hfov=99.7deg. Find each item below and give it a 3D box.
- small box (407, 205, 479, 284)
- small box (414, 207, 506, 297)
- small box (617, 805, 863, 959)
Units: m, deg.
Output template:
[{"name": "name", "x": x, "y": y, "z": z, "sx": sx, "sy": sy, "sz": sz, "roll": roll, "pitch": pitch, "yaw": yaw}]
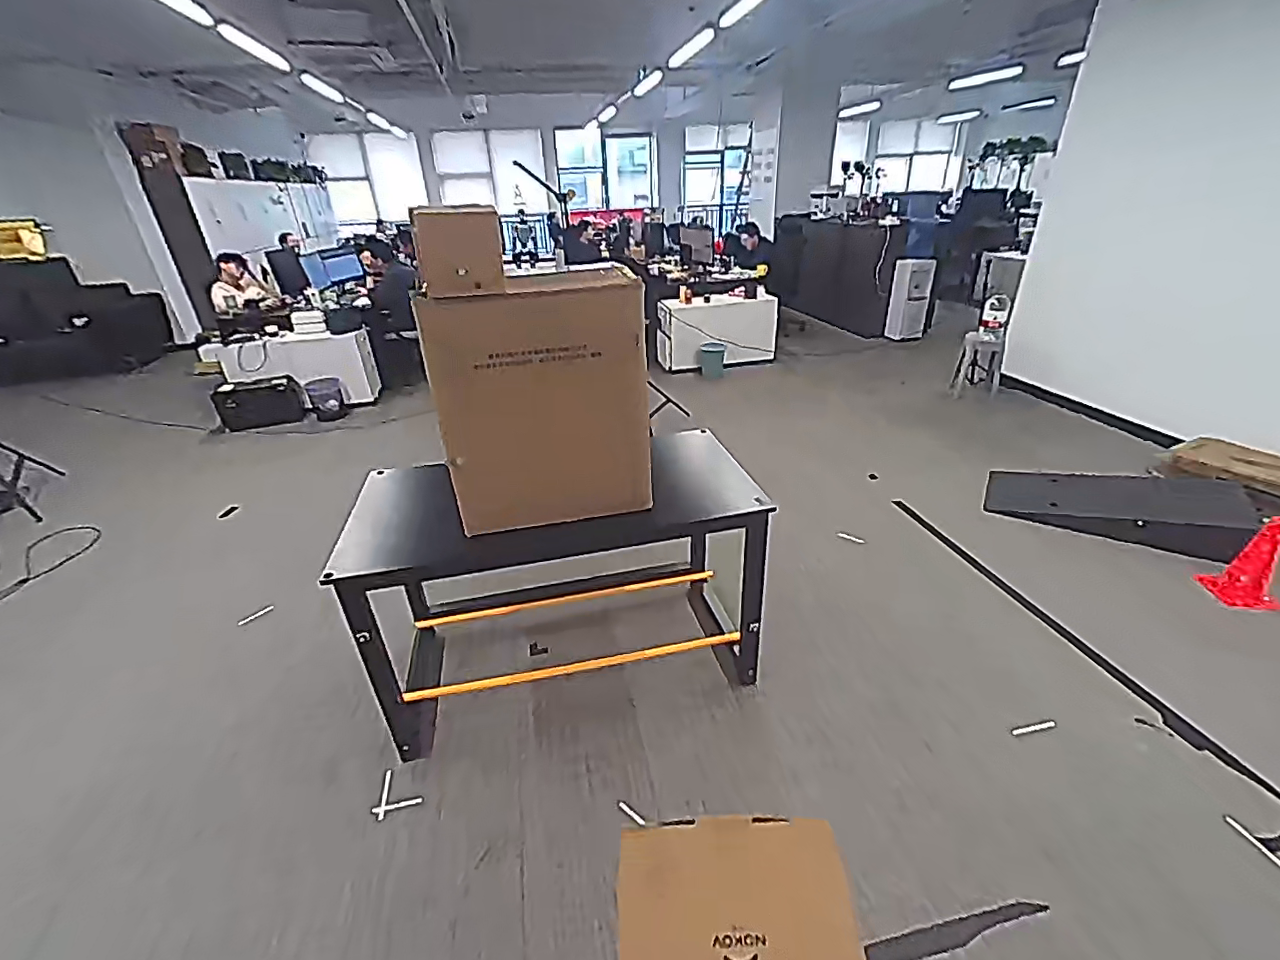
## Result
[{"name": "small box", "x": -0.475, "y": -0.591, "z": 1.359, "sx": 0.168, "sy": 0.176, "sz": 0.179, "roll": -10, "pitch": 28, "yaw": -14}, {"name": "small box", "x": -0.395, "y": -0.510, "z": 1.206, "sx": 0.168, "sy": 0.176, "sz": 0.179, "roll": -9, "pitch": 32, "yaw": -13}, {"name": "small box", "x": 0.067, "y": 0.374, "z": 0.412, "sx": 0.168, "sy": 0.176, "sz": 0.179, "roll": -2, "pitch": 42, "yaw": 1}]
